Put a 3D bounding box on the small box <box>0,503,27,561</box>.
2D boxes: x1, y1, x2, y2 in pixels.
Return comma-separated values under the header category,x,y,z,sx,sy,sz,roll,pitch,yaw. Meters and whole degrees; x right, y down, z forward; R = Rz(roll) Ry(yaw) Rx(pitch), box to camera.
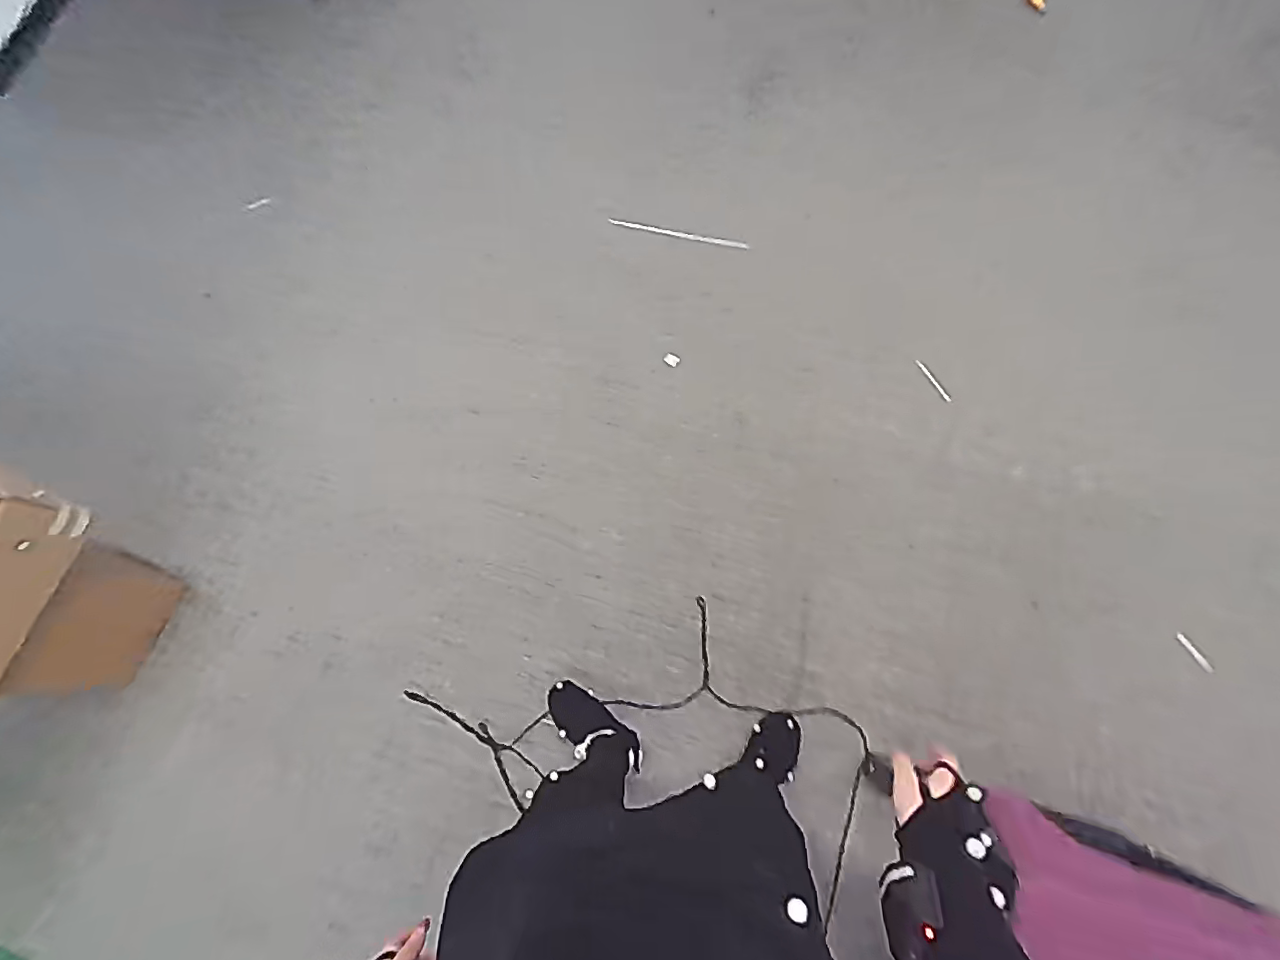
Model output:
category,x,y,z,sx,sy,sz,roll,pitch,yaw
small box,-1.545,0.112,1.186,0.179,0.176,0.168,23,78,11
